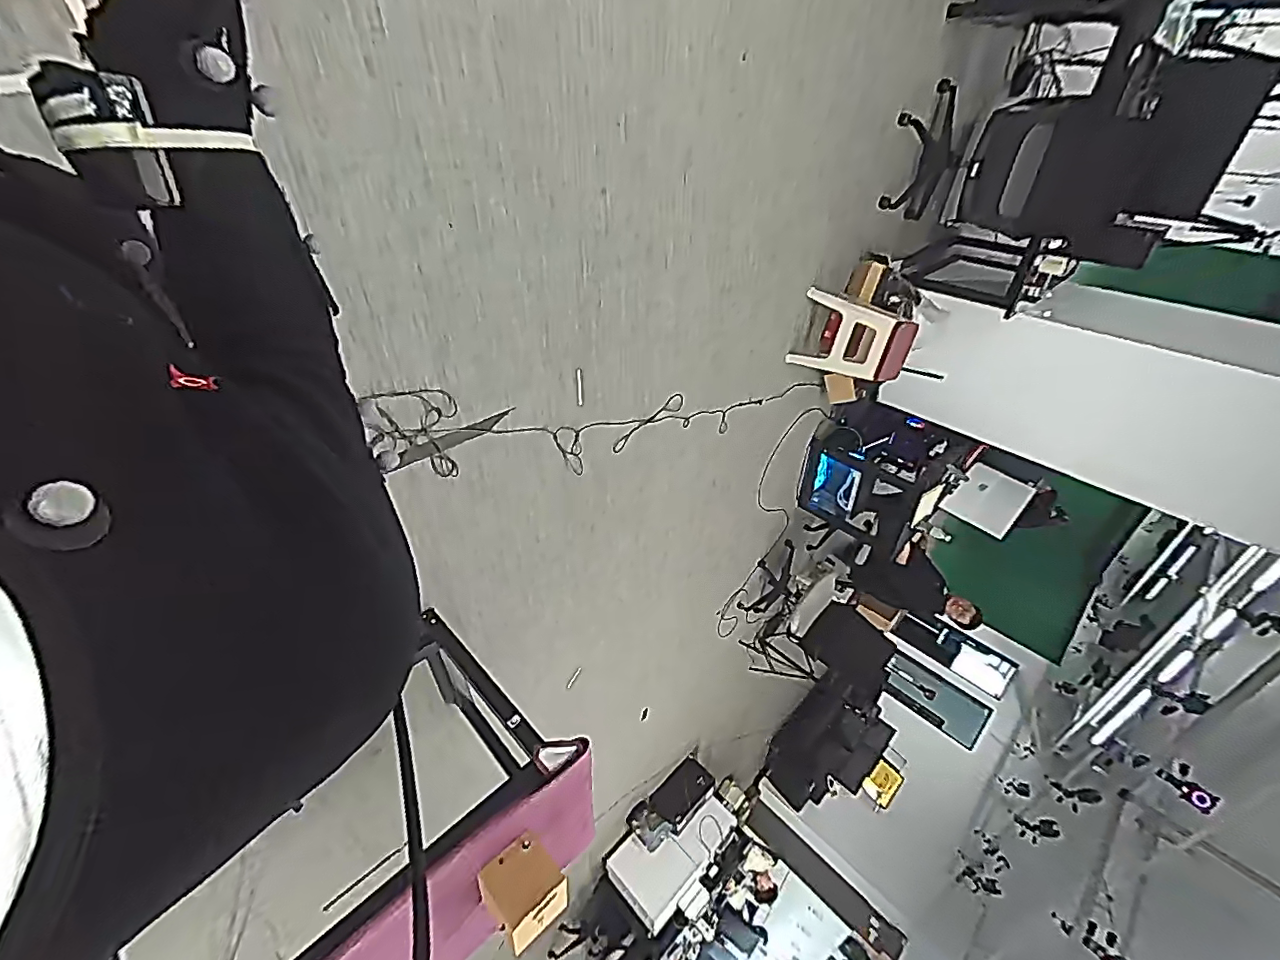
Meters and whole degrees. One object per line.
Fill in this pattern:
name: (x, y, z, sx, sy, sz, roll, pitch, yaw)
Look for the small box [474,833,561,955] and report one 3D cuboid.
small box: (-0.325, 1.083, 1.431, 0.168, 0.176, 0.179, -25, 134, -38)
